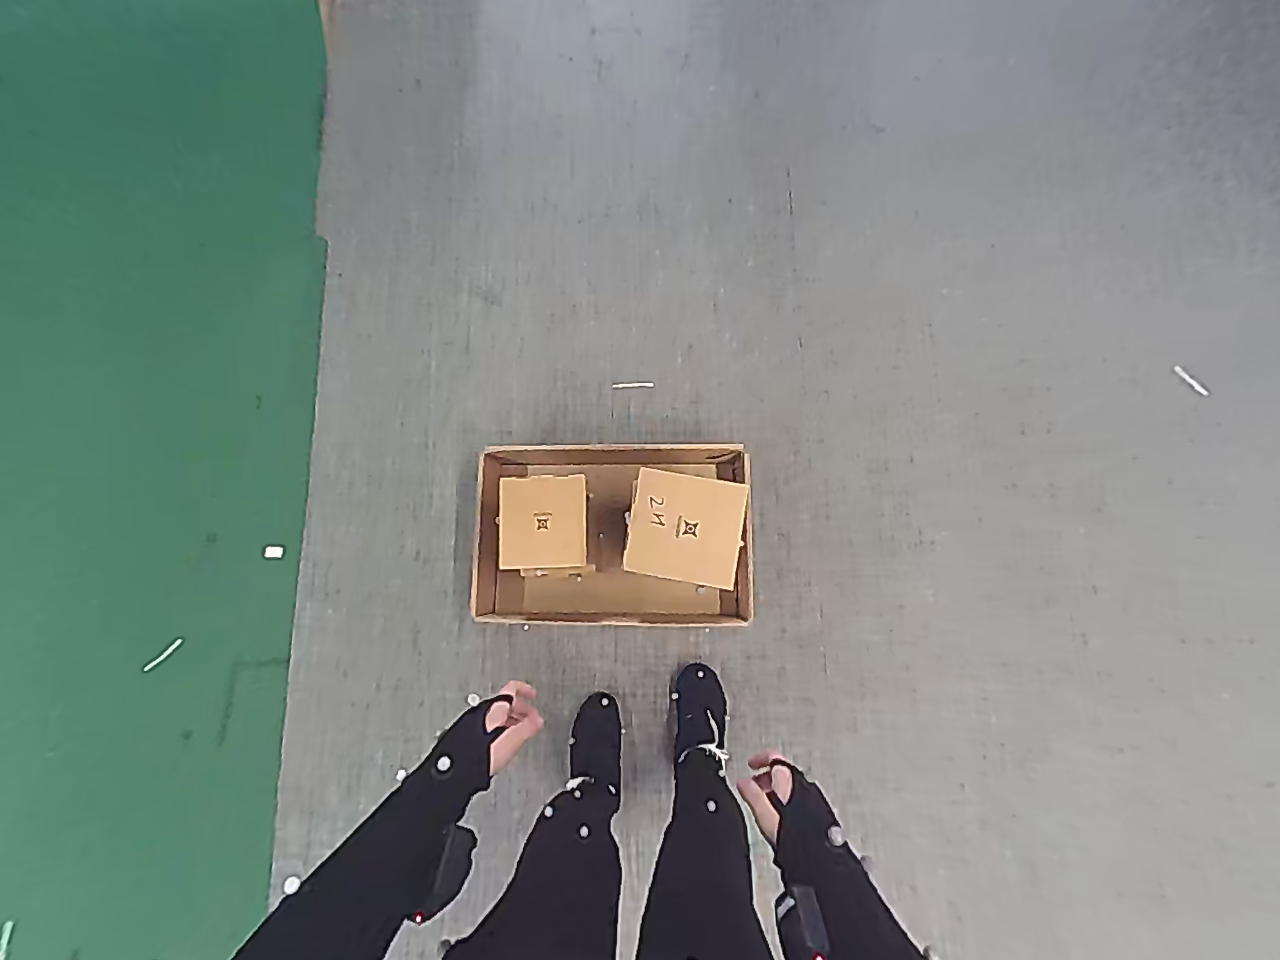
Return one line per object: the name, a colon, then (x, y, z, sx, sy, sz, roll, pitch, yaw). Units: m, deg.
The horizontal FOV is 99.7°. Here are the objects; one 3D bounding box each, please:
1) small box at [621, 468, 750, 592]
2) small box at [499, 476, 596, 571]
small box: (0.075, 0.086, 0.910, 0.179, 0.176, 0.168, 10, 82, 6)
small box: (-0.180, 0.094, 1.095, 0.168, 0.176, 0.179, -2, 79, 1)
